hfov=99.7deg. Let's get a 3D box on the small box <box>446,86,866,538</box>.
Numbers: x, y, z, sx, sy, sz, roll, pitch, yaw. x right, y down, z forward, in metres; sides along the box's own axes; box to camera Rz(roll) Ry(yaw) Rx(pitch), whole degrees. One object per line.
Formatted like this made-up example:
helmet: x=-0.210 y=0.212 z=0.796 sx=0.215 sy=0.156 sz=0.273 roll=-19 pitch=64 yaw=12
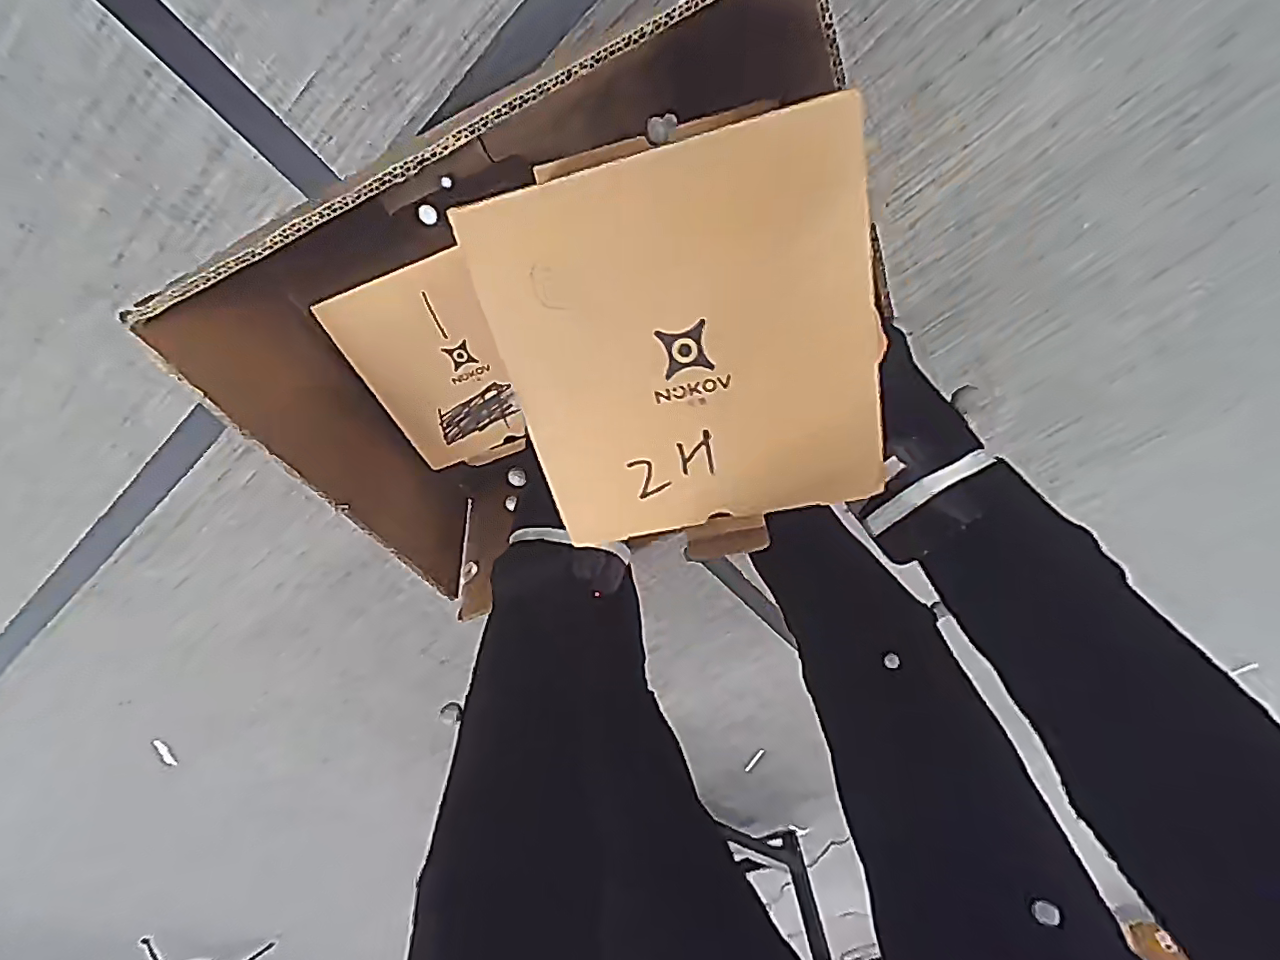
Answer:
small box: x=0.021 y=-0.094 z=0.319 sx=0.168 sy=0.176 sz=0.179 roll=-11 pitch=118 yaw=11
